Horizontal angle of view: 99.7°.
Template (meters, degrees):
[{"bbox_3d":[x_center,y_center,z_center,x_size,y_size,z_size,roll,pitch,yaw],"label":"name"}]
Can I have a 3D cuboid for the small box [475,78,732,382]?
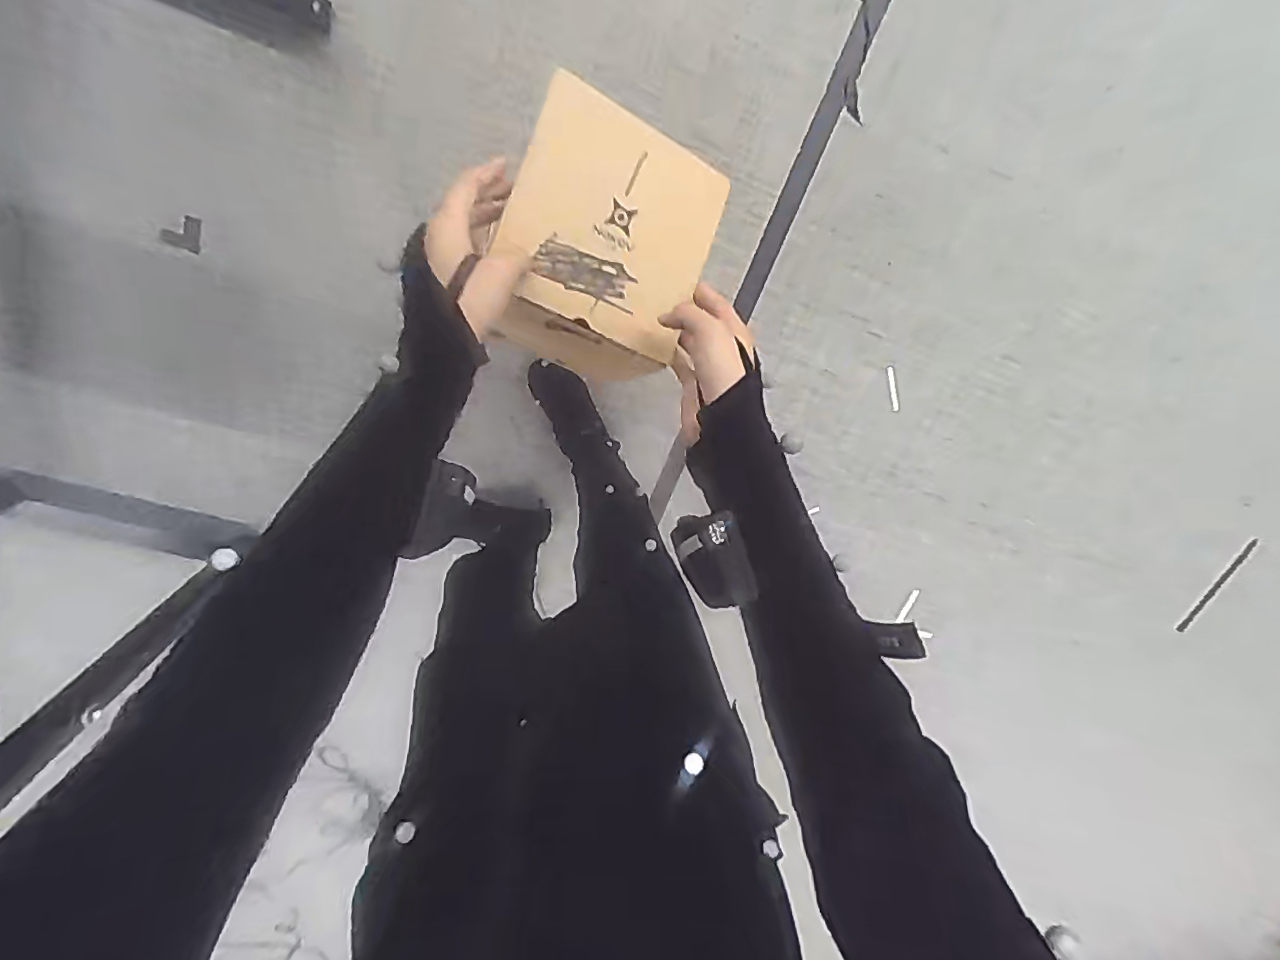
[{"bbox_3d":[-0.047,-0.204,0.508,0.168,0.176,0.179,21,86,-22],"label":"small box"}]
